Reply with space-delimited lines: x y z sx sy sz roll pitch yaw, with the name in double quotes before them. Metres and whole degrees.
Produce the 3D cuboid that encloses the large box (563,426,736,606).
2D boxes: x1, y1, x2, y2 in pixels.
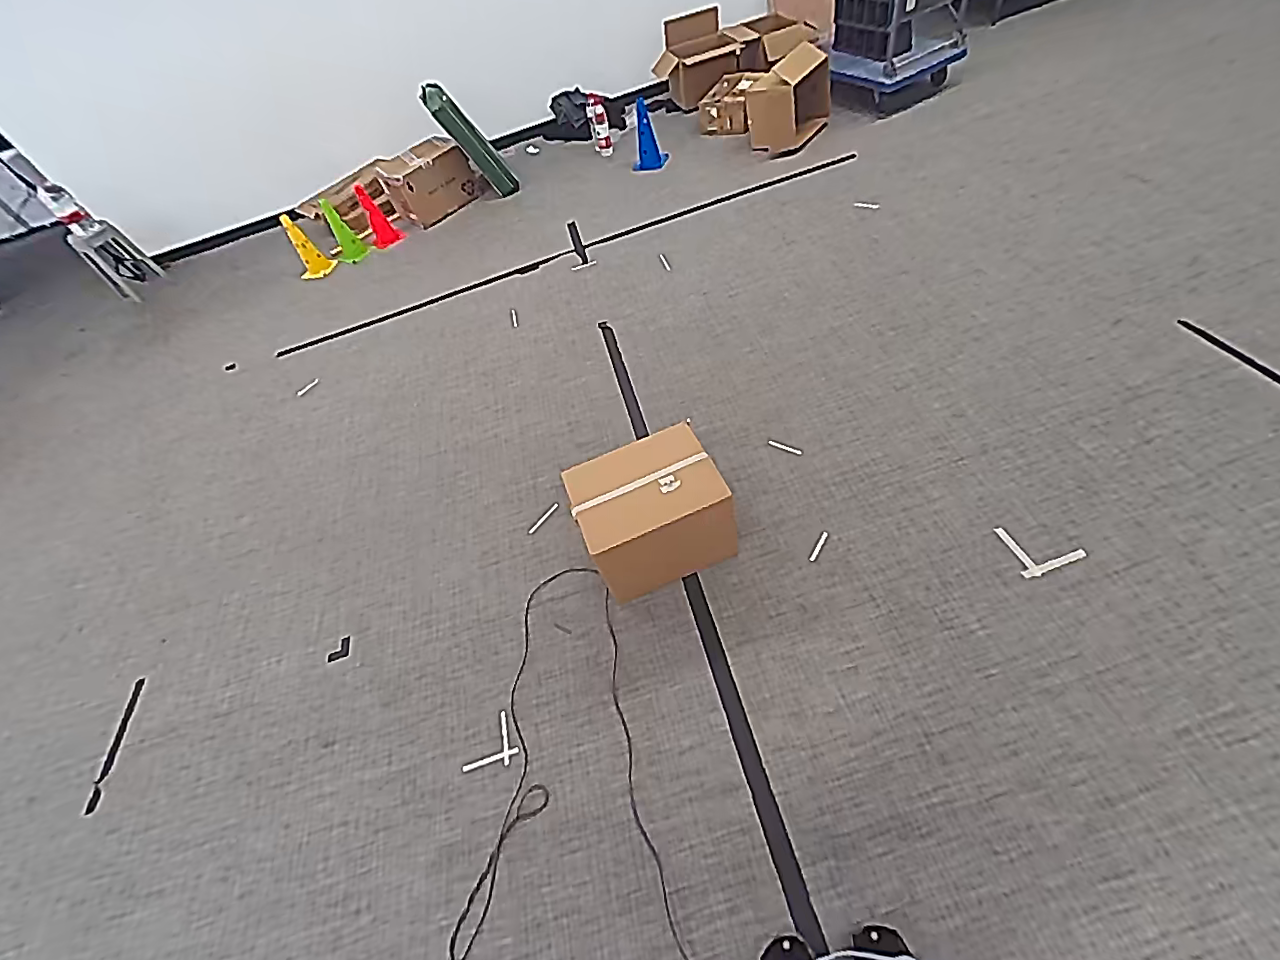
"large box" 0.033 0.111 1.605 0.408 0.320 0.320 -23 51 -4
